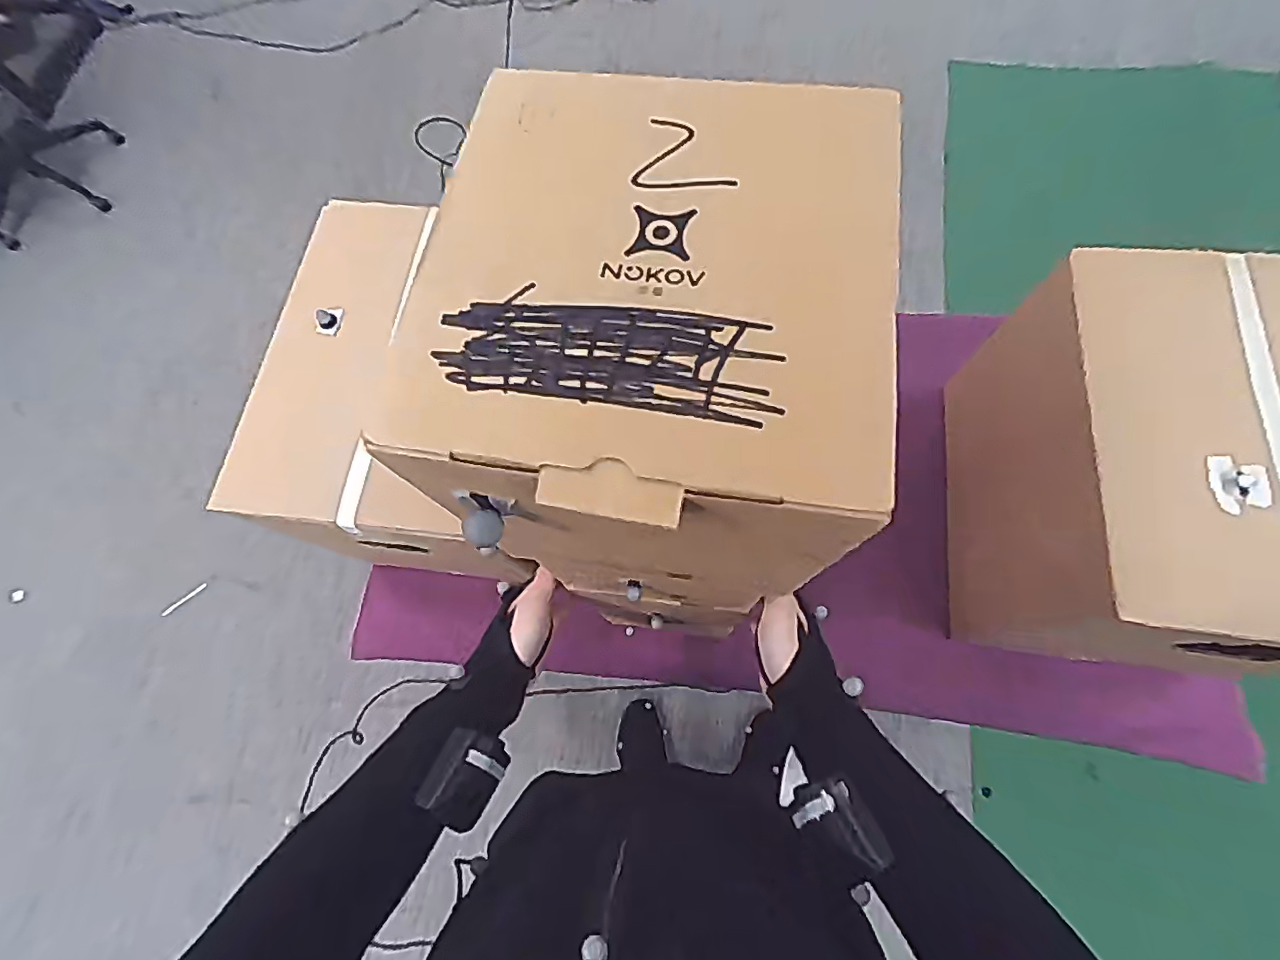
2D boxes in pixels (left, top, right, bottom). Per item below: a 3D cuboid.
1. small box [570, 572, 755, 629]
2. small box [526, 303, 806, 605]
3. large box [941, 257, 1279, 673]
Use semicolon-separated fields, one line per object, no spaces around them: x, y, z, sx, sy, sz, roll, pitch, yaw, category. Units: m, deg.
0.033;0.051;0.571;0.168;0.176;0.179;6;70;6;small box
0.025;-0.008;0.421;0.168;0.176;0.179;6;71;5;small box
0.599;0.003;0.656;0.320;0.320;0.408;6;72;7;large box
